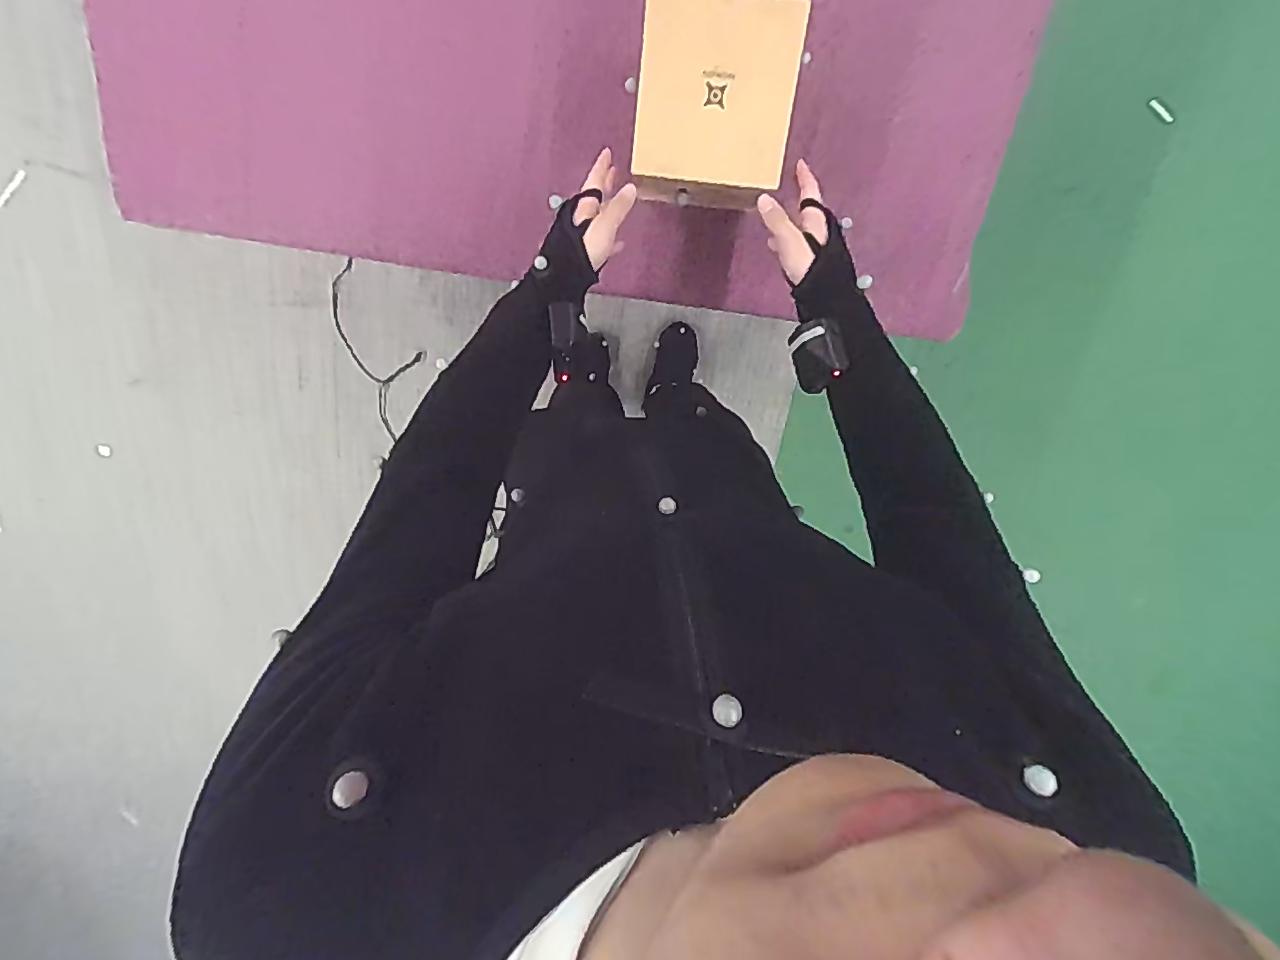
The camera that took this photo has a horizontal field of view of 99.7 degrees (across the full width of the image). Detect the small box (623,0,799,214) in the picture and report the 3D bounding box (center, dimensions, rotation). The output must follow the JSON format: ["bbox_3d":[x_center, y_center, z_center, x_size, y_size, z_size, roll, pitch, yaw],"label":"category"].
[{"bbox_3d":[0.077,-0.431,0.648,0.168,0.176,0.179,7,108,1],"label":"small box"}]
